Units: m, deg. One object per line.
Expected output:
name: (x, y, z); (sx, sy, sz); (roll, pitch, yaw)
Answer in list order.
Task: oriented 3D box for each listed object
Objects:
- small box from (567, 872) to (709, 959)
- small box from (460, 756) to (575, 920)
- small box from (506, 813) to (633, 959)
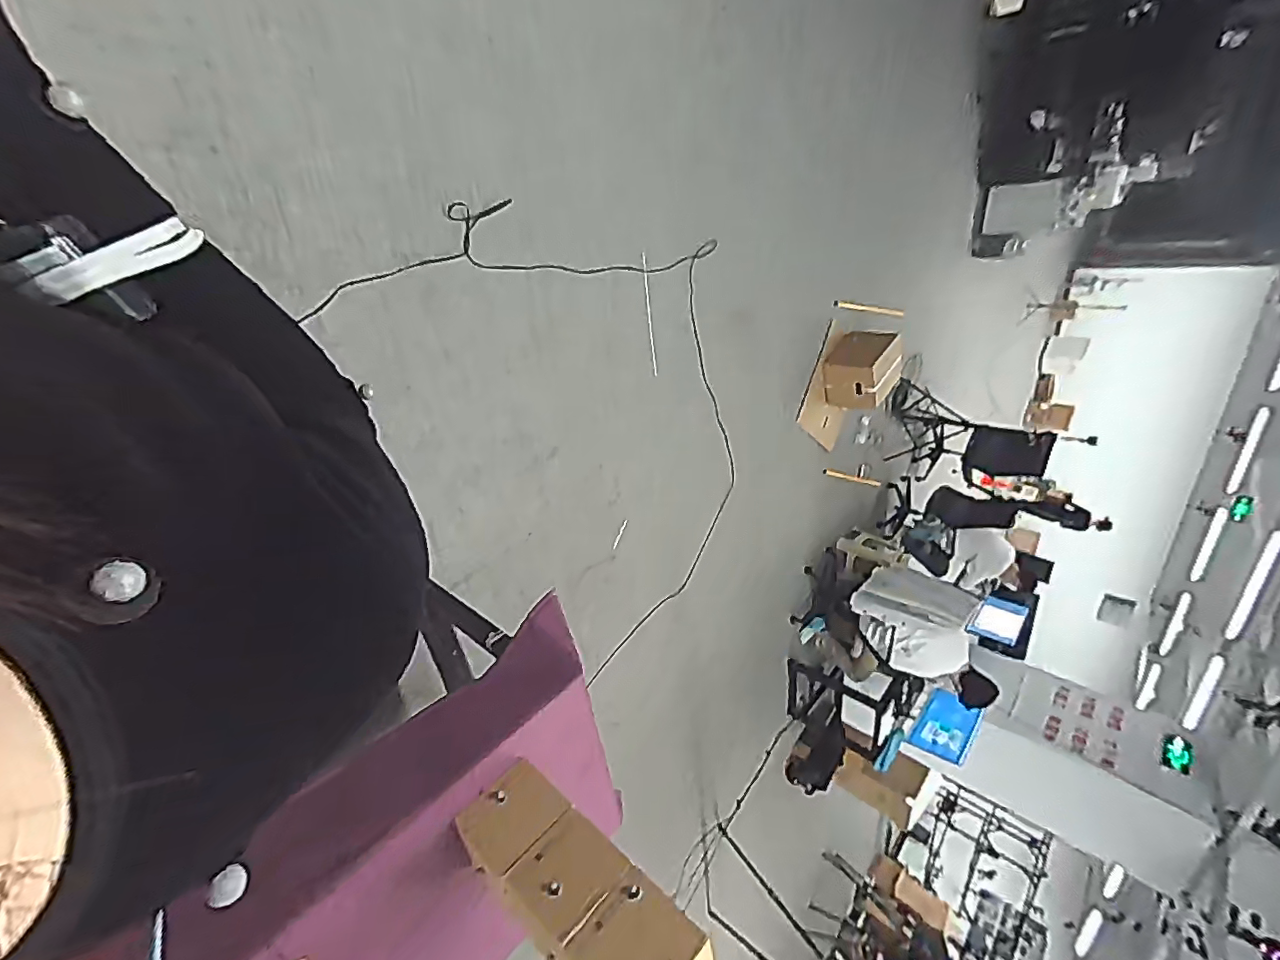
small box: (-0.001, 0.799, 0.888); (0.168, 0.176, 0.179); (-31, 126, -36)
small box: (-0.242, 0.712, 1.093); (0.179, 0.176, 0.168); (-30, 125, -37)
small box: (-0.124, 0.757, 0.988); (0.168, 0.176, 0.179); (-28, 124, -38)
